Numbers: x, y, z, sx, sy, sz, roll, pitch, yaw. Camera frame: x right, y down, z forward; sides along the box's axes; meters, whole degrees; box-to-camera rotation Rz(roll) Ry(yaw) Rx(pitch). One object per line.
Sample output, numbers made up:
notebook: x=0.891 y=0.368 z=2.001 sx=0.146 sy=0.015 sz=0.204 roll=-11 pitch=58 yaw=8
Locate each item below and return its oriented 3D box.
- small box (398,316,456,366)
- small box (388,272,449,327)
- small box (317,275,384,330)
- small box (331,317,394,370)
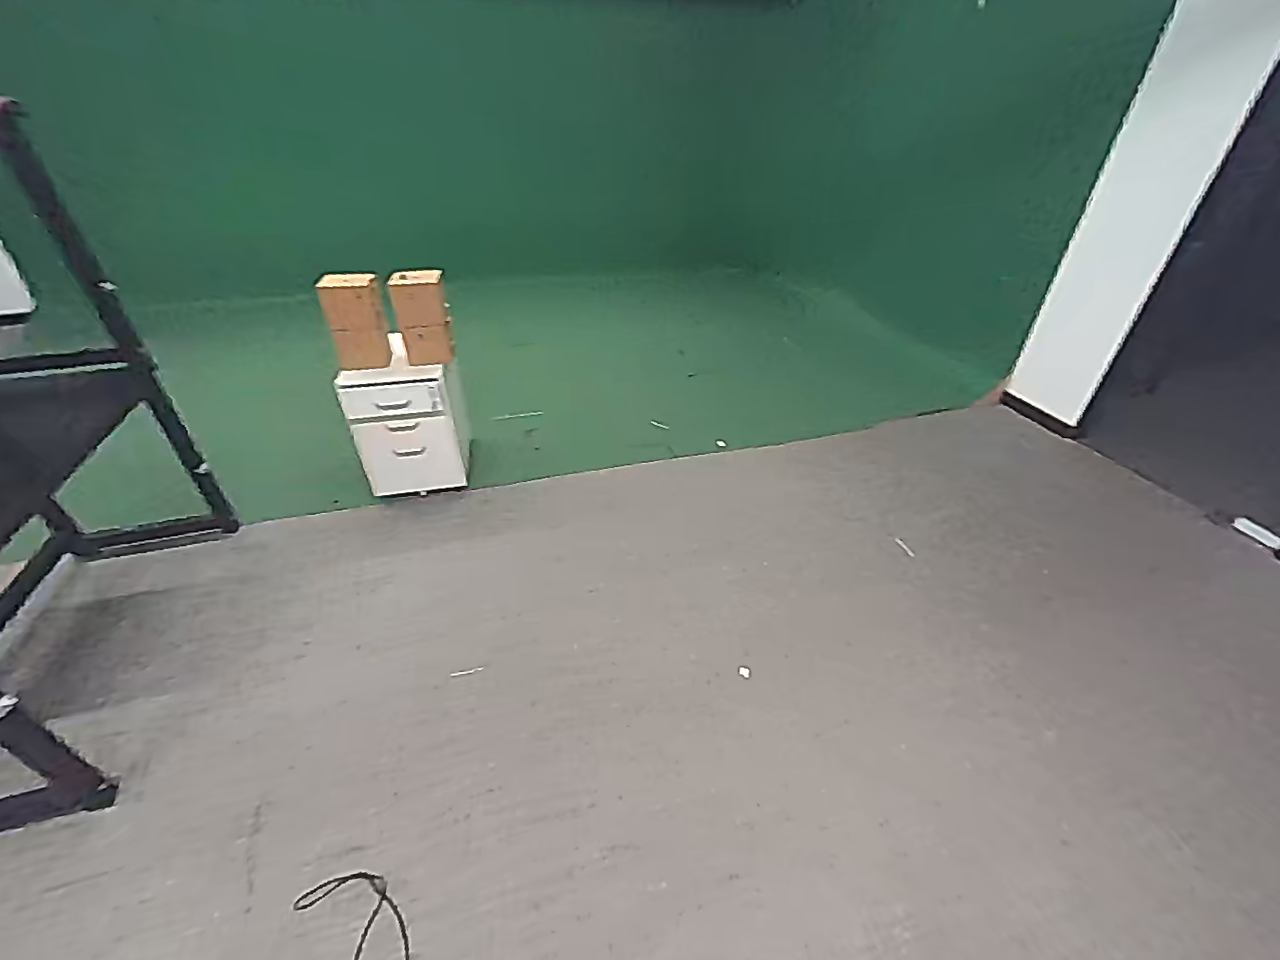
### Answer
small box: x=-0.876 y=-0.581 z=2.235 sx=0.179 sy=0.176 sz=0.168 roll=-6 pitch=37 yaw=-8
small box: x=-0.869 y=-0.711 z=2.135 sx=0.179 sy=0.176 sz=0.168 roll=-6 pitch=37 yaw=-8
small box: x=-1.120 y=-0.688 z=2.106 sx=0.179 sy=0.176 sz=0.168 roll=-5 pitch=36 yaw=-11
small box: x=-1.123 y=-0.555 z=2.200 sx=0.179 sy=0.176 sz=0.168 roll=-7 pitch=37 yaw=-11
